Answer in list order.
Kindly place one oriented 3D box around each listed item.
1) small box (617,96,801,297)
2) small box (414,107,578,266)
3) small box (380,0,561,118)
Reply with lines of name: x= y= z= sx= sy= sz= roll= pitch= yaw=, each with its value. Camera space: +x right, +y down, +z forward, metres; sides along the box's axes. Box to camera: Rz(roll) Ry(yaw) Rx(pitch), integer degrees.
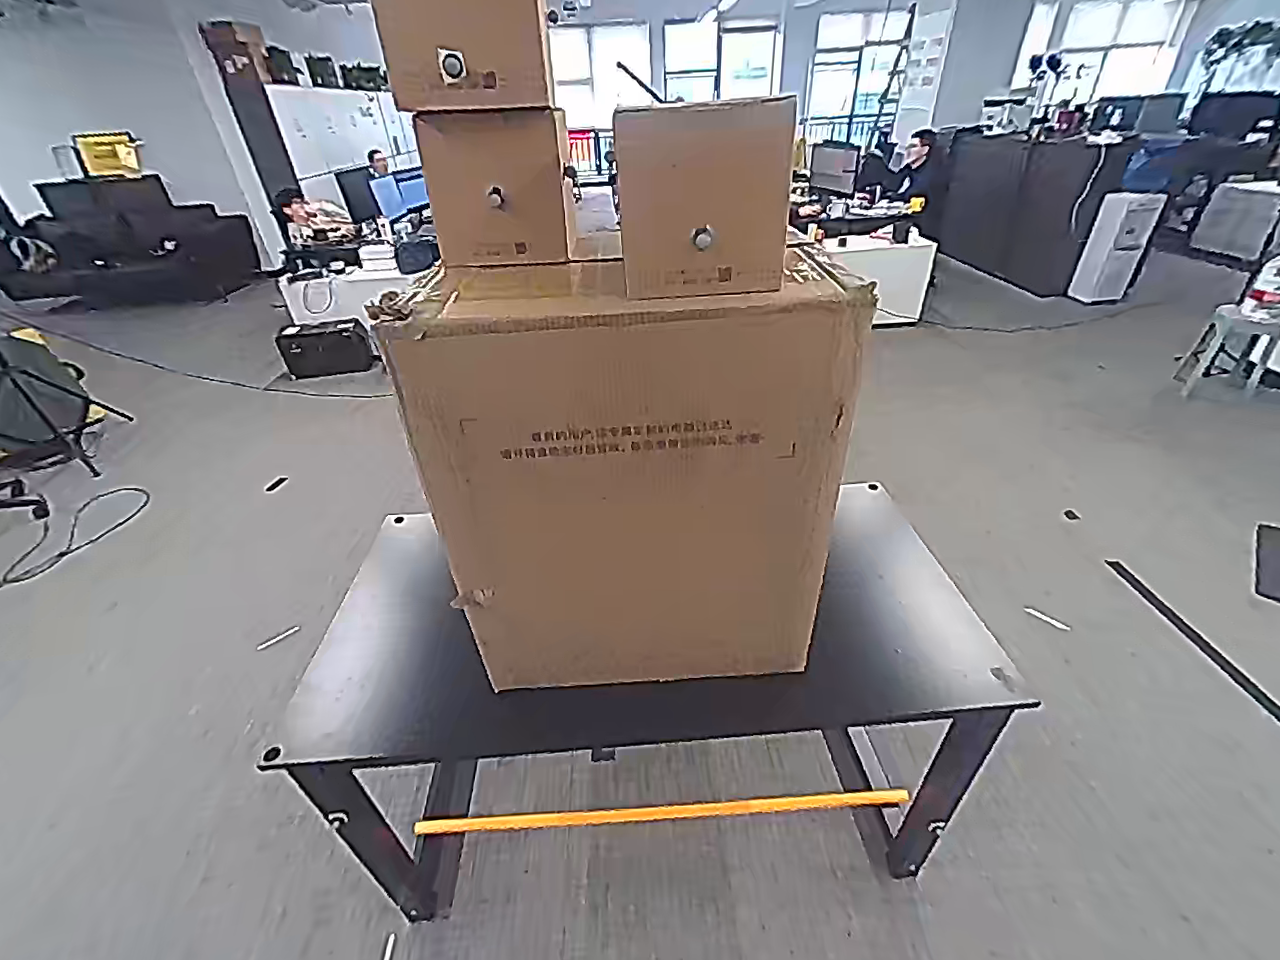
small box: x=0.065 y=-0.308 z=0.587 sx=0.168 sy=0.176 sz=0.179 roll=-3 pitch=35 yaw=2
small box: x=-0.174 y=-0.389 z=0.720 sx=0.168 sy=0.176 sz=0.179 roll=-3 pitch=35 yaw=-1
small box: x=-0.182 y=-0.504 z=0.599 sx=0.168 sy=0.176 sz=0.179 roll=-6 pitch=35 yaw=-3
